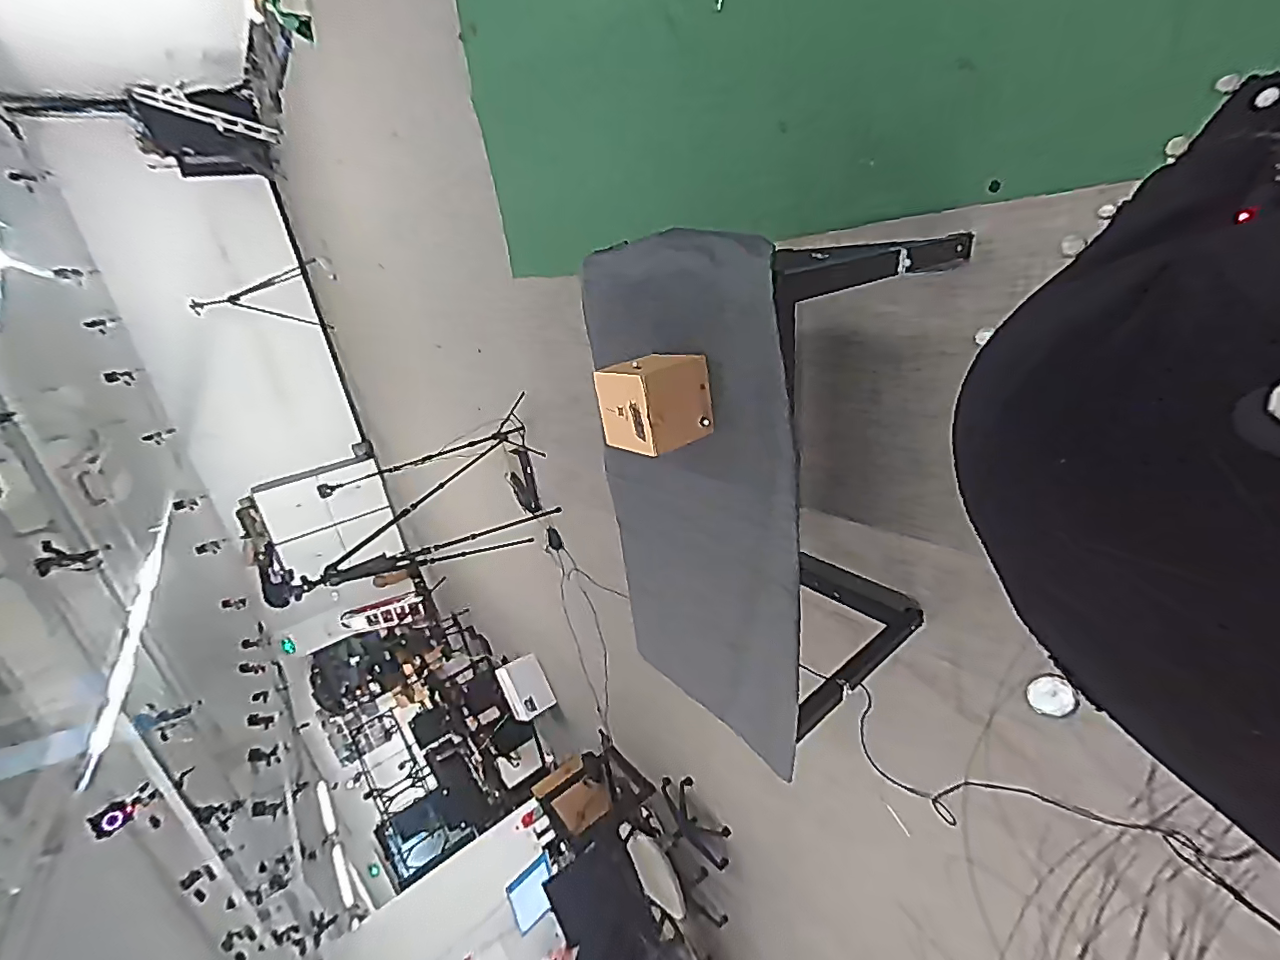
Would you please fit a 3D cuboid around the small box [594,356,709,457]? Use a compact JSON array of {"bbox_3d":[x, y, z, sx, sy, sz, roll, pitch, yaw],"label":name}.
[{"bbox_3d":[0.031,-0.163,1.140,0.179,0.176,0.168,18,124,52],"label":"small box"}]
